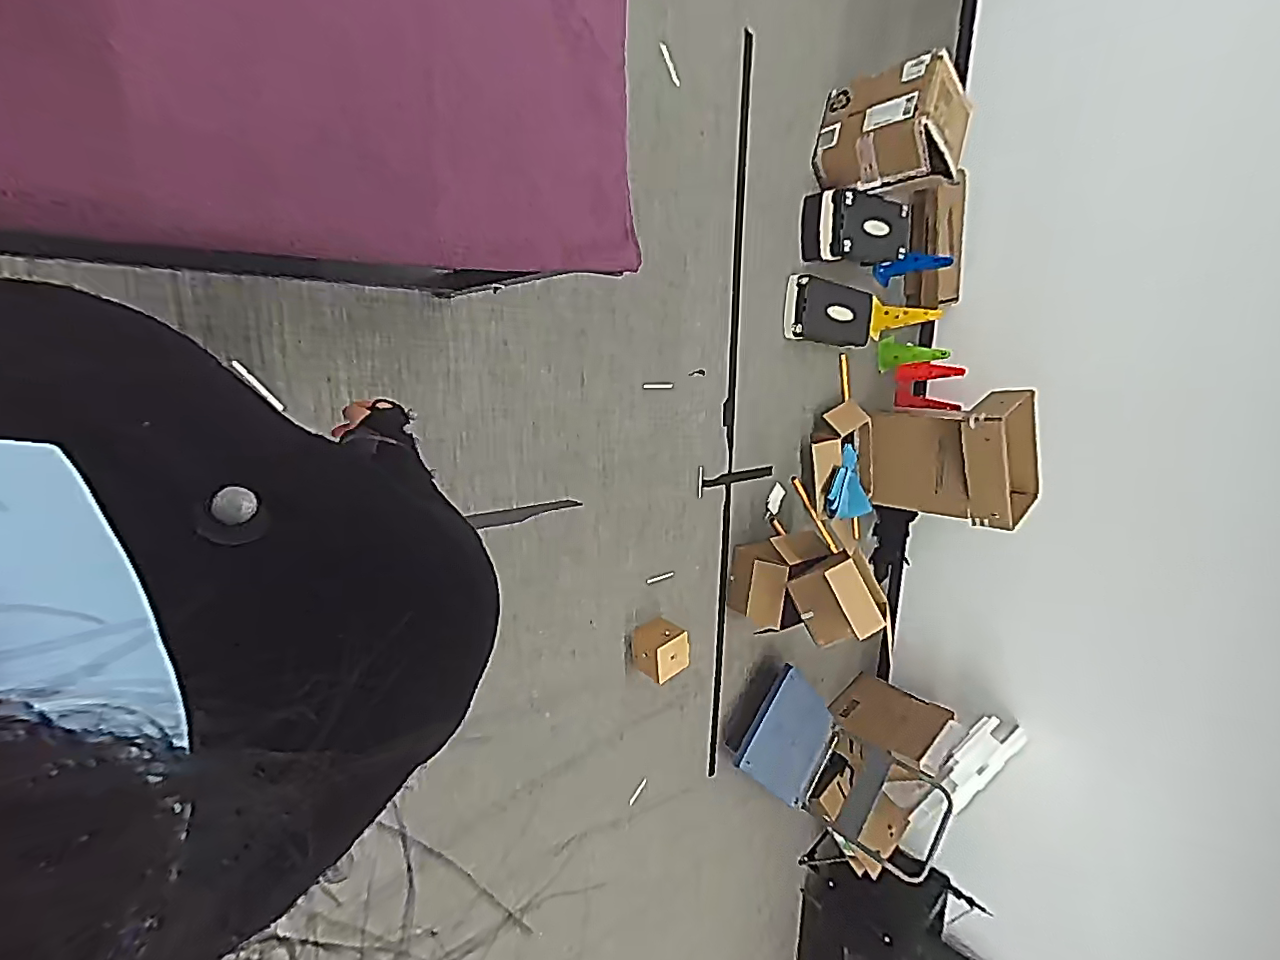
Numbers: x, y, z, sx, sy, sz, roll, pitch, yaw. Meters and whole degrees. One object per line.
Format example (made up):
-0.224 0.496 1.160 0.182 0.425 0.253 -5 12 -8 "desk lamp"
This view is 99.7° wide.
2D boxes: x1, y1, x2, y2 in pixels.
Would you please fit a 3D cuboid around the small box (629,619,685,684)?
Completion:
0.066 0.702 2.230 0.179 0.176 0.168 -18 112 -39 "small box"
